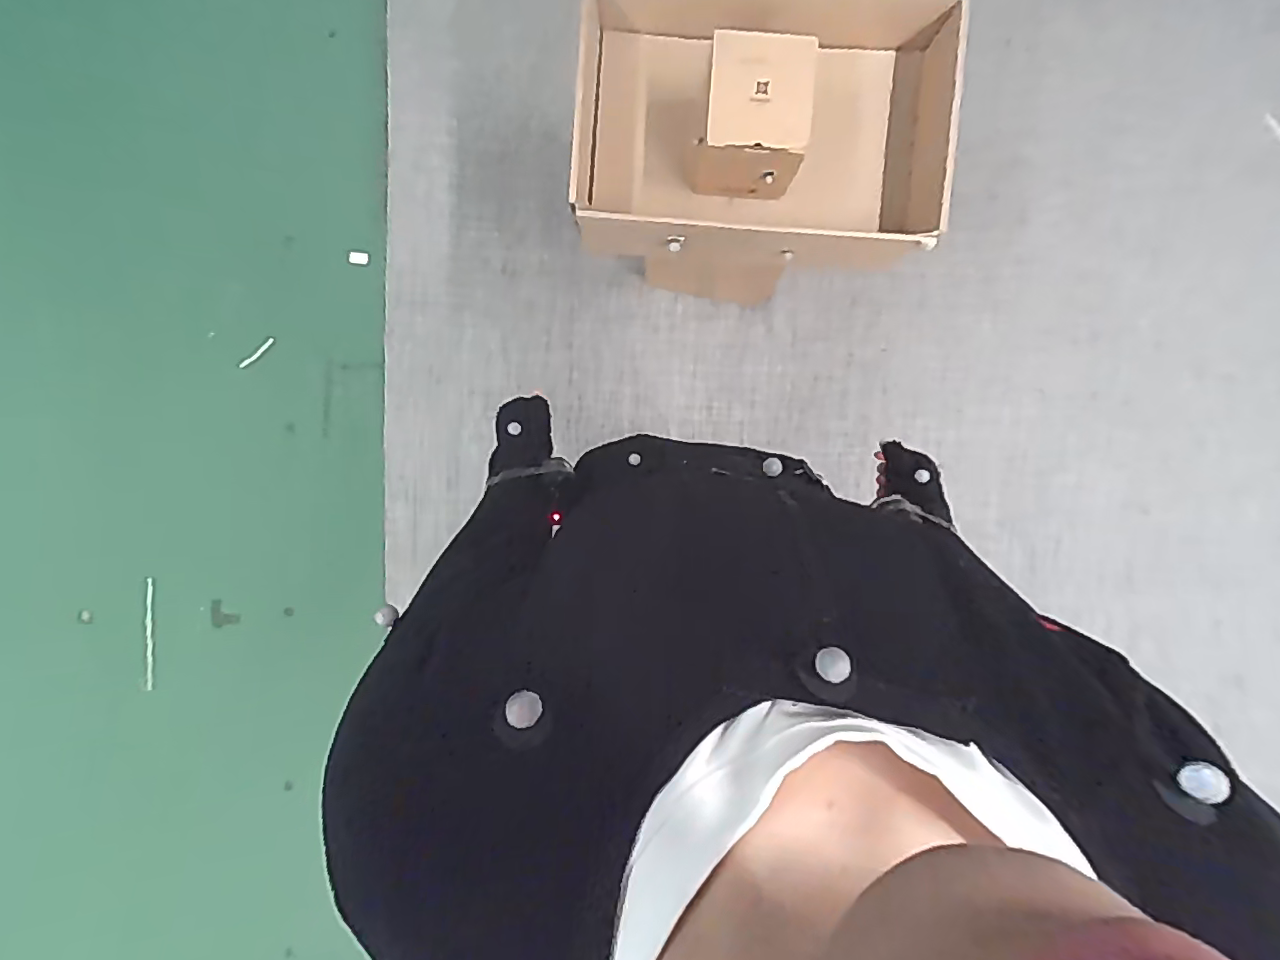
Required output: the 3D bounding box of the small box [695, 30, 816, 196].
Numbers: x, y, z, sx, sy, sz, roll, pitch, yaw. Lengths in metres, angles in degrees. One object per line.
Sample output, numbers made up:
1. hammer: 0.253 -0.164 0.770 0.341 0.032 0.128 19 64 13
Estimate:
1. small box: 0.188 -0.614 0.926 0.168 0.176 0.179 3 91 -2
